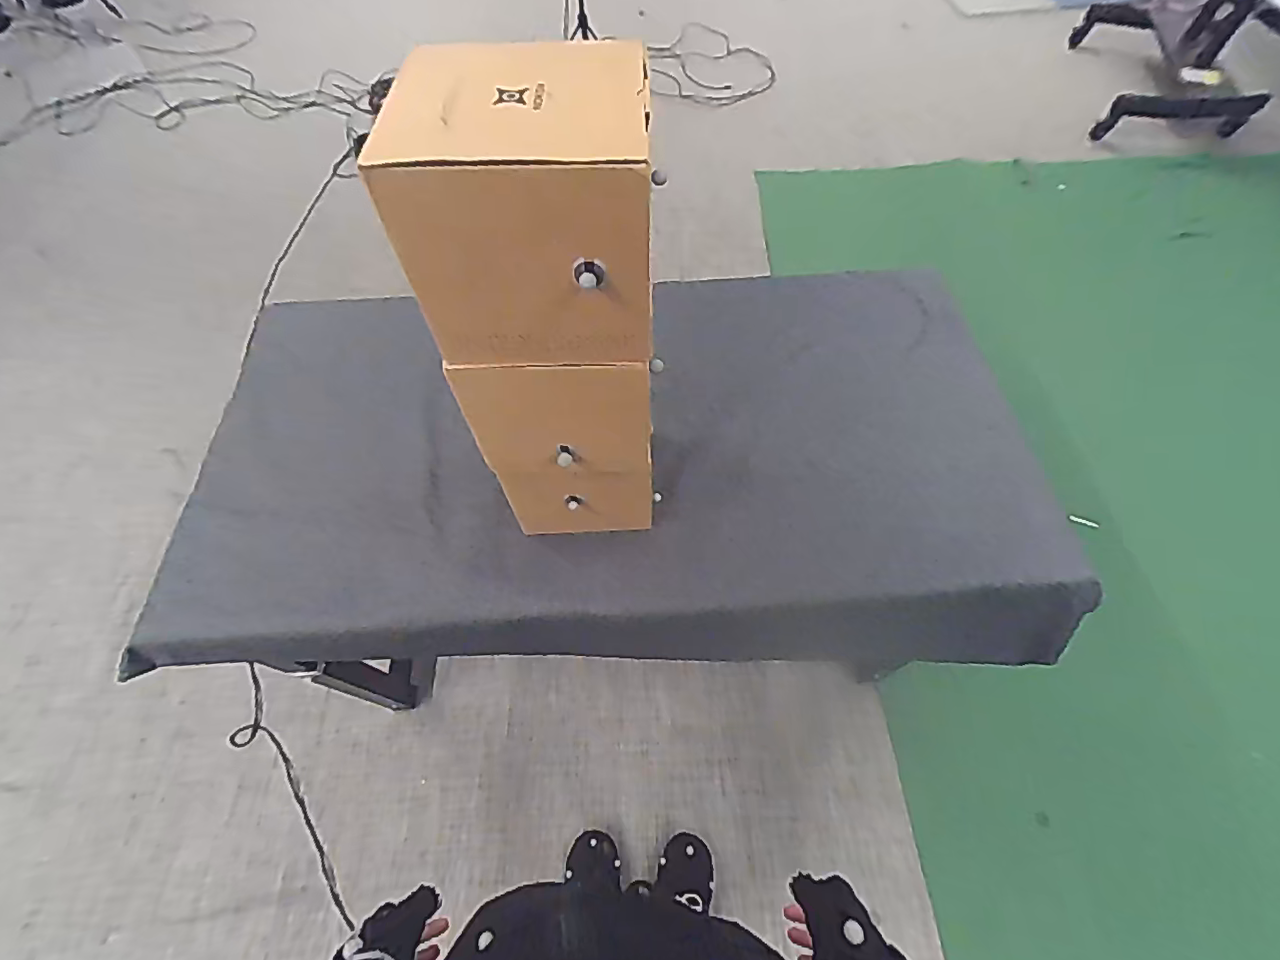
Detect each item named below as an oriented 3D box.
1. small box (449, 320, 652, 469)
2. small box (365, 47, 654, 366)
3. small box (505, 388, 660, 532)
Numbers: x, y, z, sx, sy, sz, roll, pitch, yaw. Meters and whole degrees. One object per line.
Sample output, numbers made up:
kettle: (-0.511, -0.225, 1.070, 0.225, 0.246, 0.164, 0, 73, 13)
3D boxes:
small box: (-0.078, -0.122, 0.571, 0.179, 0.176, 0.168, -1, 59, 0)
small box: (-0.079, -0.208, 0.433, 0.179, 0.176, 0.168, -2, 58, 1)
small box: (-0.072, -0.043, 0.714, 0.179, 0.176, 0.168, -5, 60, -3)
